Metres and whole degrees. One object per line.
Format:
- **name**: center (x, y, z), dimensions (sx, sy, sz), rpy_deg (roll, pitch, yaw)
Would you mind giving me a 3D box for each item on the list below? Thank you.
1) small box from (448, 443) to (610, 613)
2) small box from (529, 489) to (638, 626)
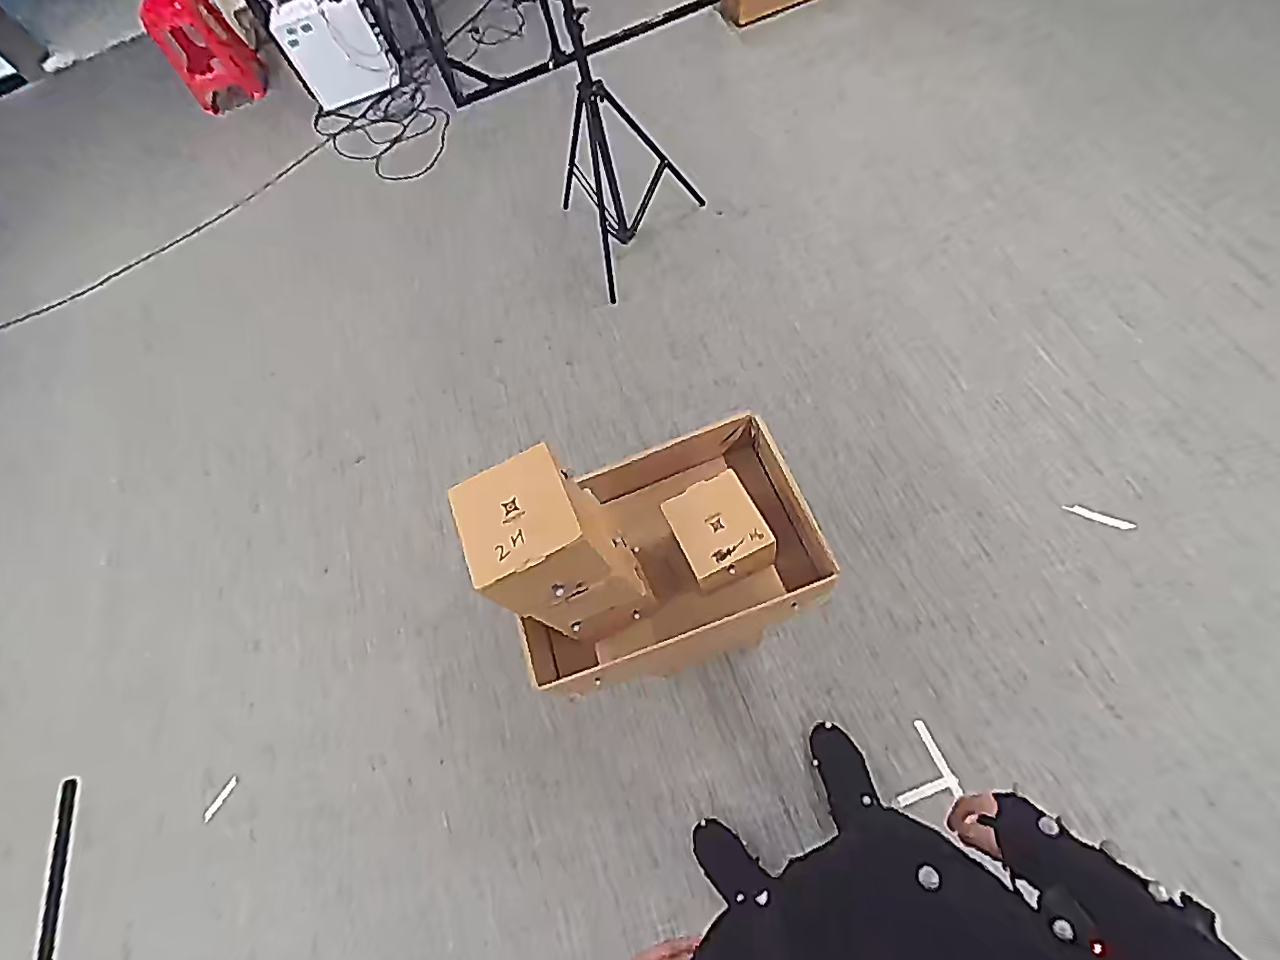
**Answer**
- **small box**: center (-0.165, 0.081, 0.833), dimensions (0.168, 0.176, 0.179), rpy_deg (-27, 62, 0)
- **small box**: center (-0.118, 0.150, 0.976), dimensions (0.168, 0.176, 0.179), rpy_deg (-25, 62, 0)
